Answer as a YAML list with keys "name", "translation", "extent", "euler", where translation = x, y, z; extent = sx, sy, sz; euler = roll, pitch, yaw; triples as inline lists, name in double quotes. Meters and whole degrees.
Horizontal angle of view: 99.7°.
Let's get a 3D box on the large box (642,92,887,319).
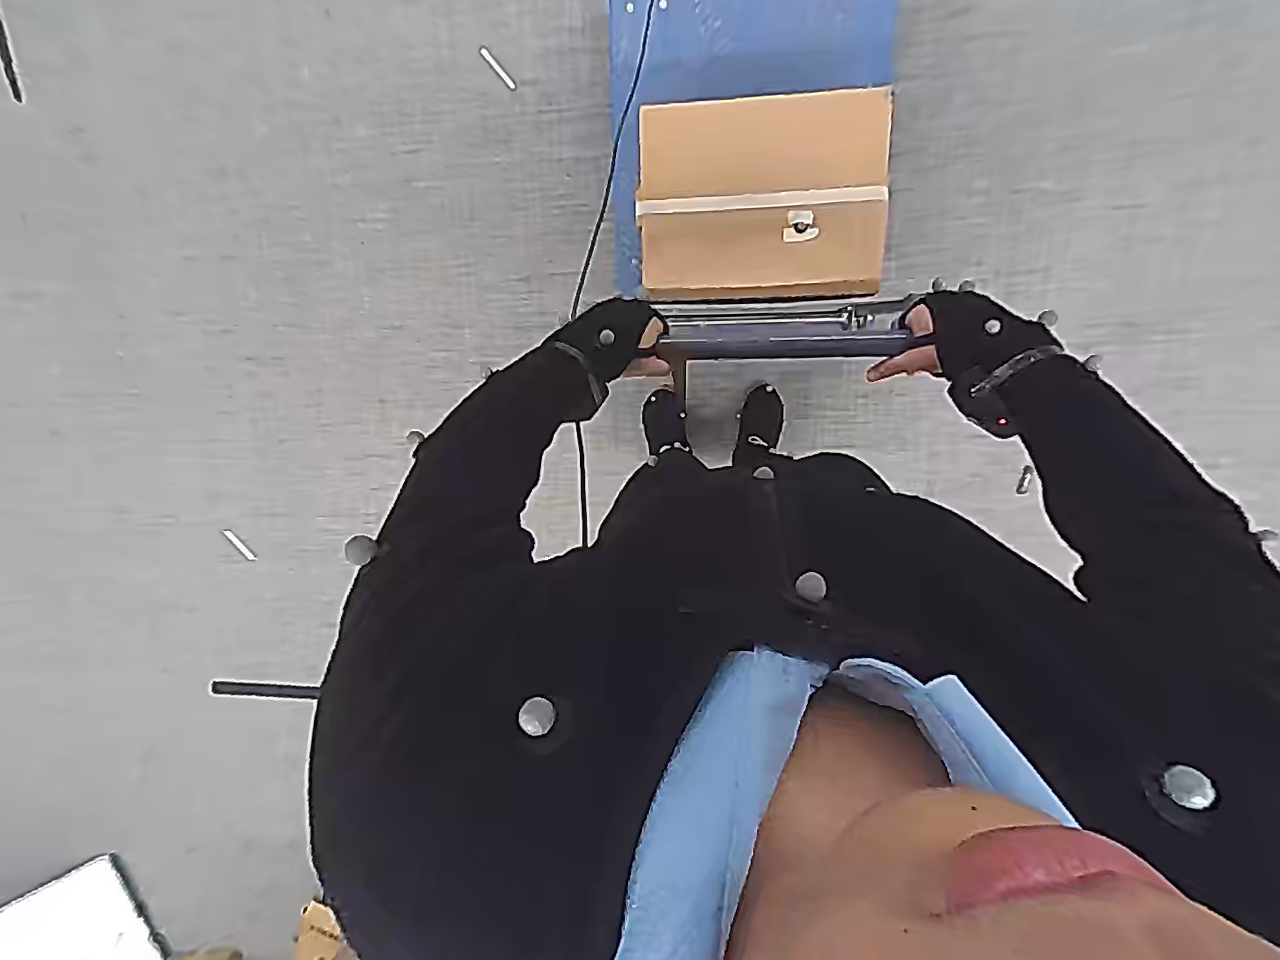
- name: "large box"
  translation: [0.221, -0.500, 1.065]
  extent: [0.408, 0.320, 0.320]
  euler: [0, 103, 7]
